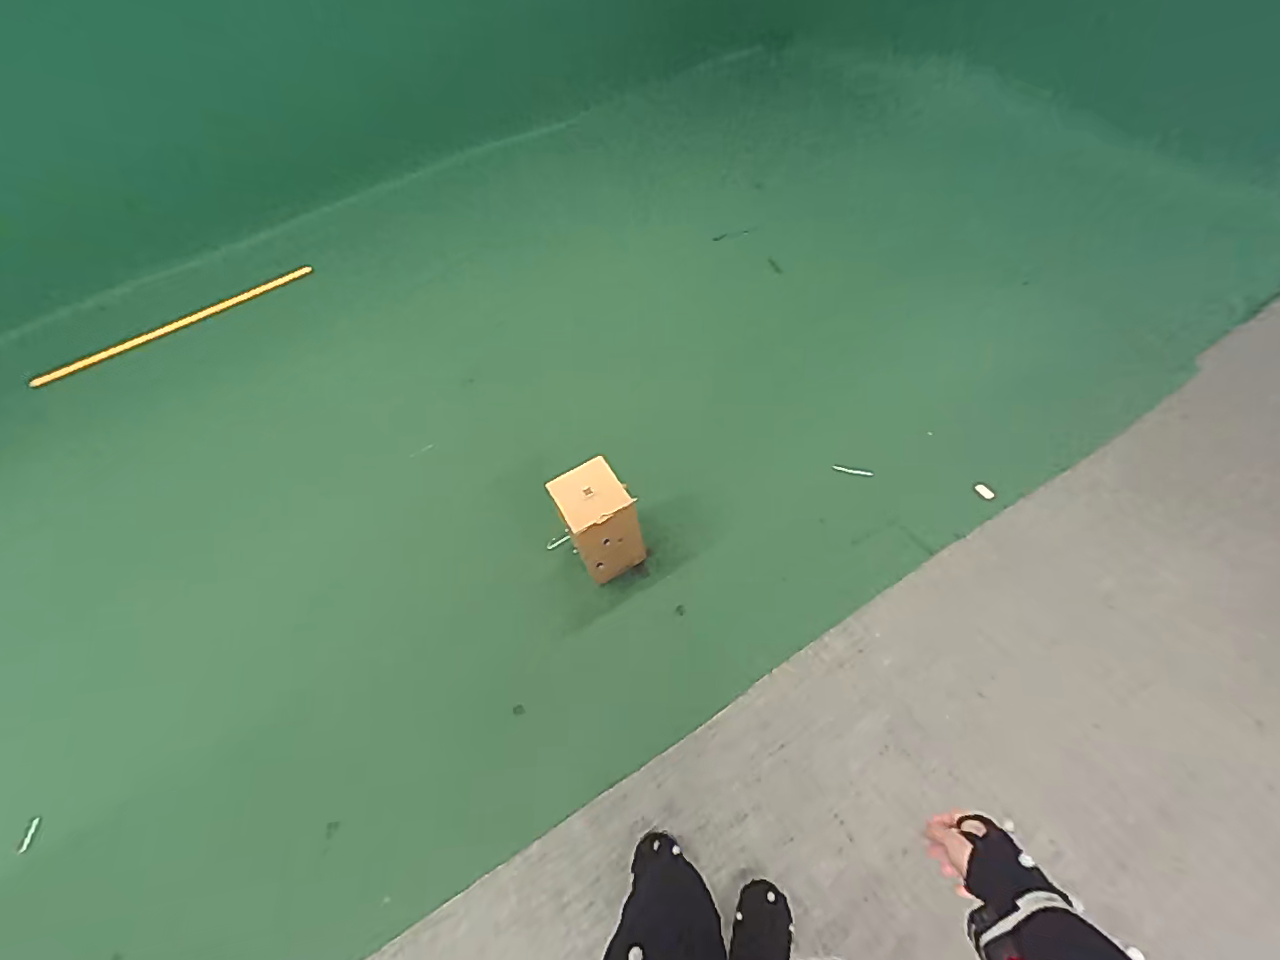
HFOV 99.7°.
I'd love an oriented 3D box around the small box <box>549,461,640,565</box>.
[{"bbox_3d":[-0.116,0.090,1.416,0.168,0.176,0.179,-29,57,-12],"label":"small box"}]
